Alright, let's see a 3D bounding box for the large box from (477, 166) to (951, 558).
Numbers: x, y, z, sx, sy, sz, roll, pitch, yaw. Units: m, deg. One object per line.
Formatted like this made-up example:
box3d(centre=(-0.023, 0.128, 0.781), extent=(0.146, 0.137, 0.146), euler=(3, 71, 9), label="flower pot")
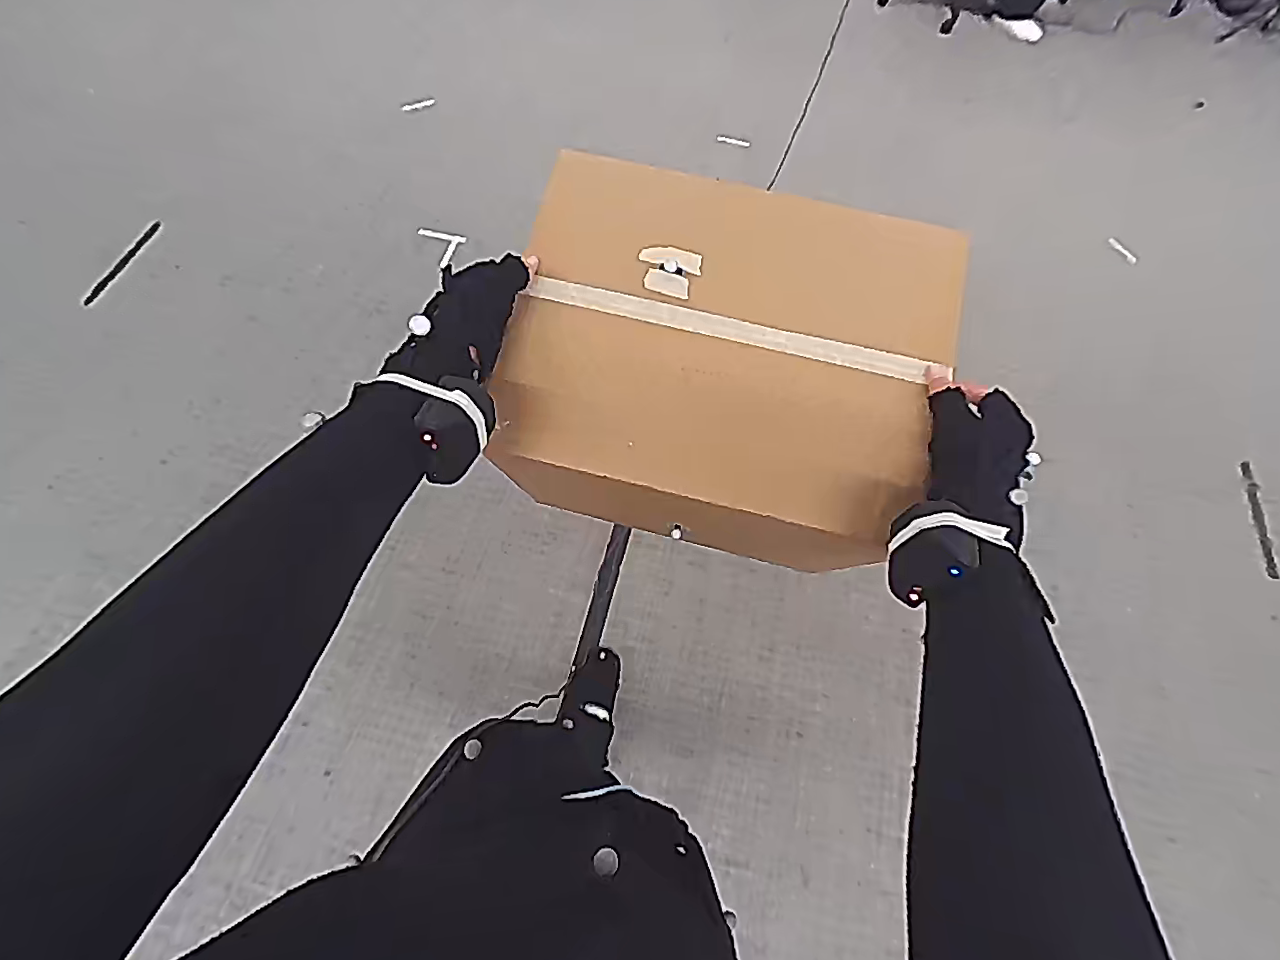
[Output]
box3d(centre=(0.083, -0.105, 0.655), extent=(0.408, 0.320, 0.320), euler=(14, 77, 5), label="large box")
